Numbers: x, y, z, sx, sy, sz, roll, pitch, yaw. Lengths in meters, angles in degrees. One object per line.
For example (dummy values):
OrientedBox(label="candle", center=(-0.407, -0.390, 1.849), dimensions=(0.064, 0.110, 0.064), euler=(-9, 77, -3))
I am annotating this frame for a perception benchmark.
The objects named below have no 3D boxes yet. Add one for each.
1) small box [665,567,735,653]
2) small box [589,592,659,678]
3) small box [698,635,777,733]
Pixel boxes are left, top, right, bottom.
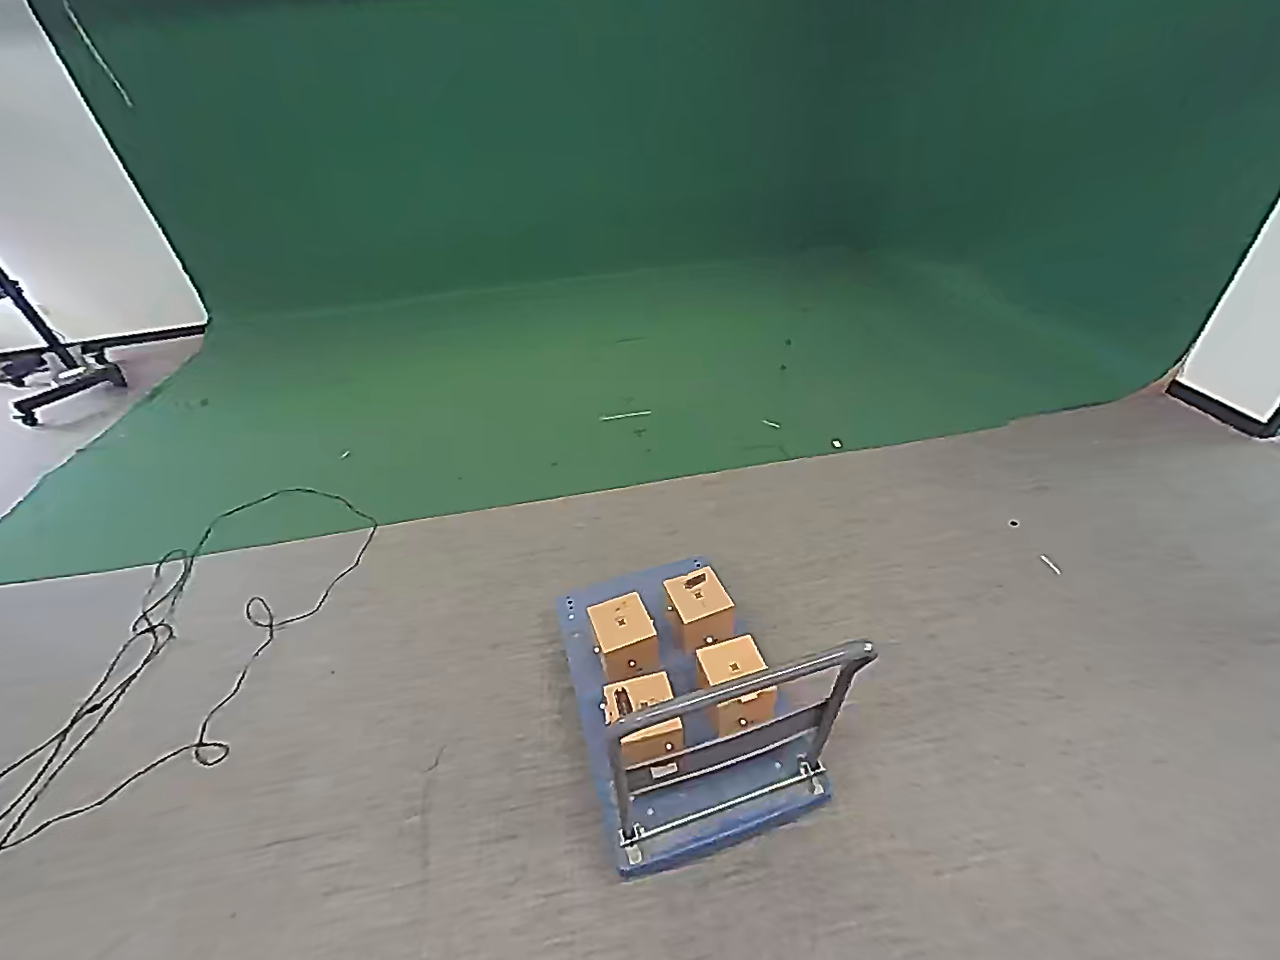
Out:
OrientedBox(label="small box", center=(0.188, 0.416, 1.730), dimensions=(0.168, 0.176, 0.179), euler=(-17, 41, -12))
OrientedBox(label="small box", center=(-0.046, 0.486, 1.672), dimensions=(0.168, 0.176, 0.179), euler=(-16, 40, -13))
OrientedBox(label="small box", center=(0.267, 0.575, 1.525), dimensions=(0.168, 0.176, 0.179), euler=(-13, 40, -10))
